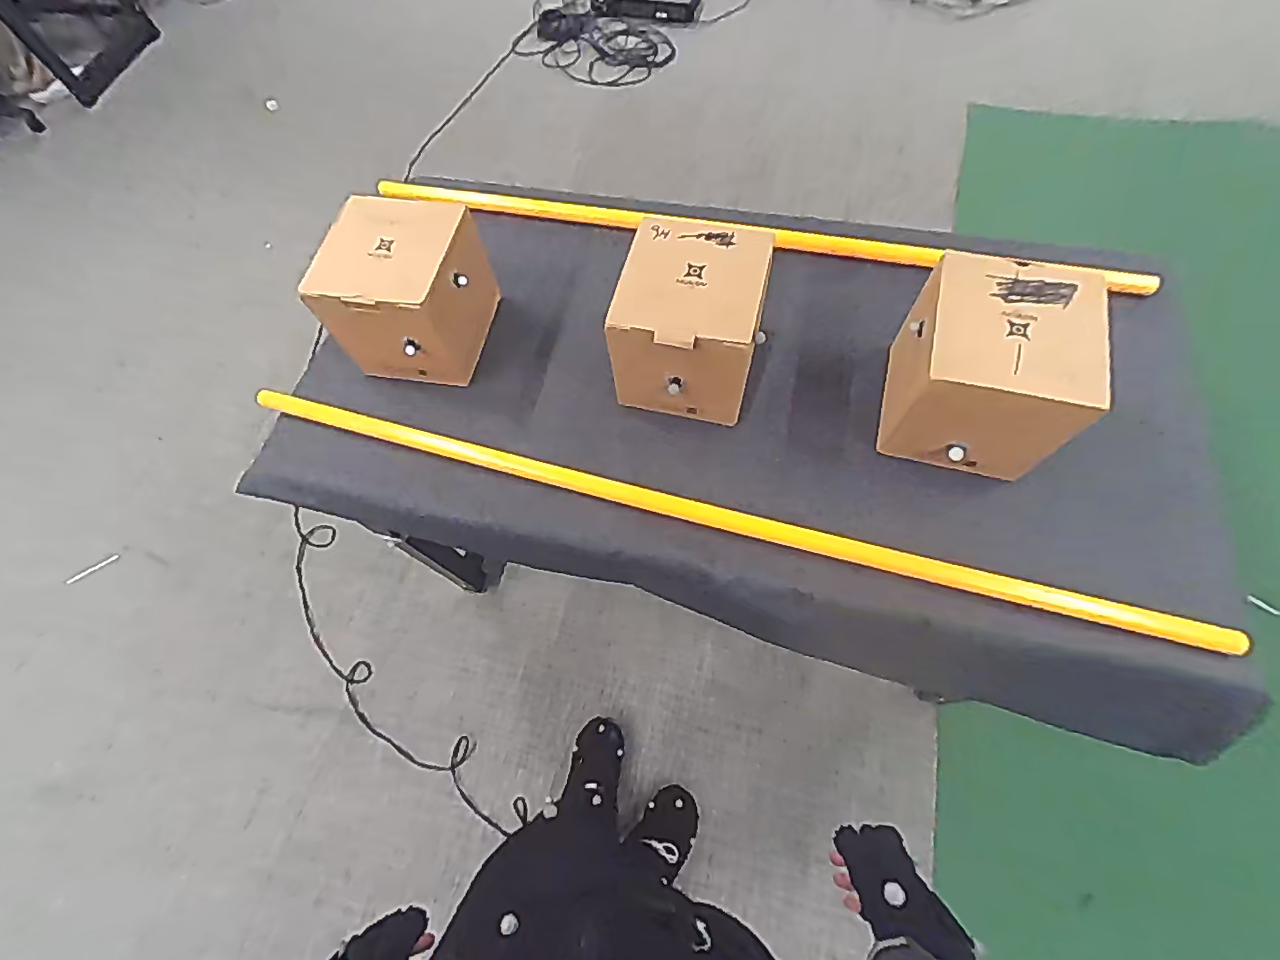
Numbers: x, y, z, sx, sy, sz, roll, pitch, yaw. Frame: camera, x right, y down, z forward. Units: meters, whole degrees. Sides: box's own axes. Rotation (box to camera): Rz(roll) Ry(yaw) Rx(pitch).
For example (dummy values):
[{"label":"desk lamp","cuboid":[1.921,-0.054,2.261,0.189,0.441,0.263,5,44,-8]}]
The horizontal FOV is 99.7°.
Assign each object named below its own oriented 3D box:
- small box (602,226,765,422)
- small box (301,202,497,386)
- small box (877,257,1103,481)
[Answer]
[{"label":"small box","cuboid":[0.062,-0.195,0.699,0.168,0.176,0.179,9,65,10]},{"label":"small box","cuboid":[-0.316,-0.252,0.754,0.168,0.176,0.179,8,64,6]},{"label":"small box","cuboid":[0.394,-0.124,0.636,0.168,0.176,0.179,14,68,11]}]
